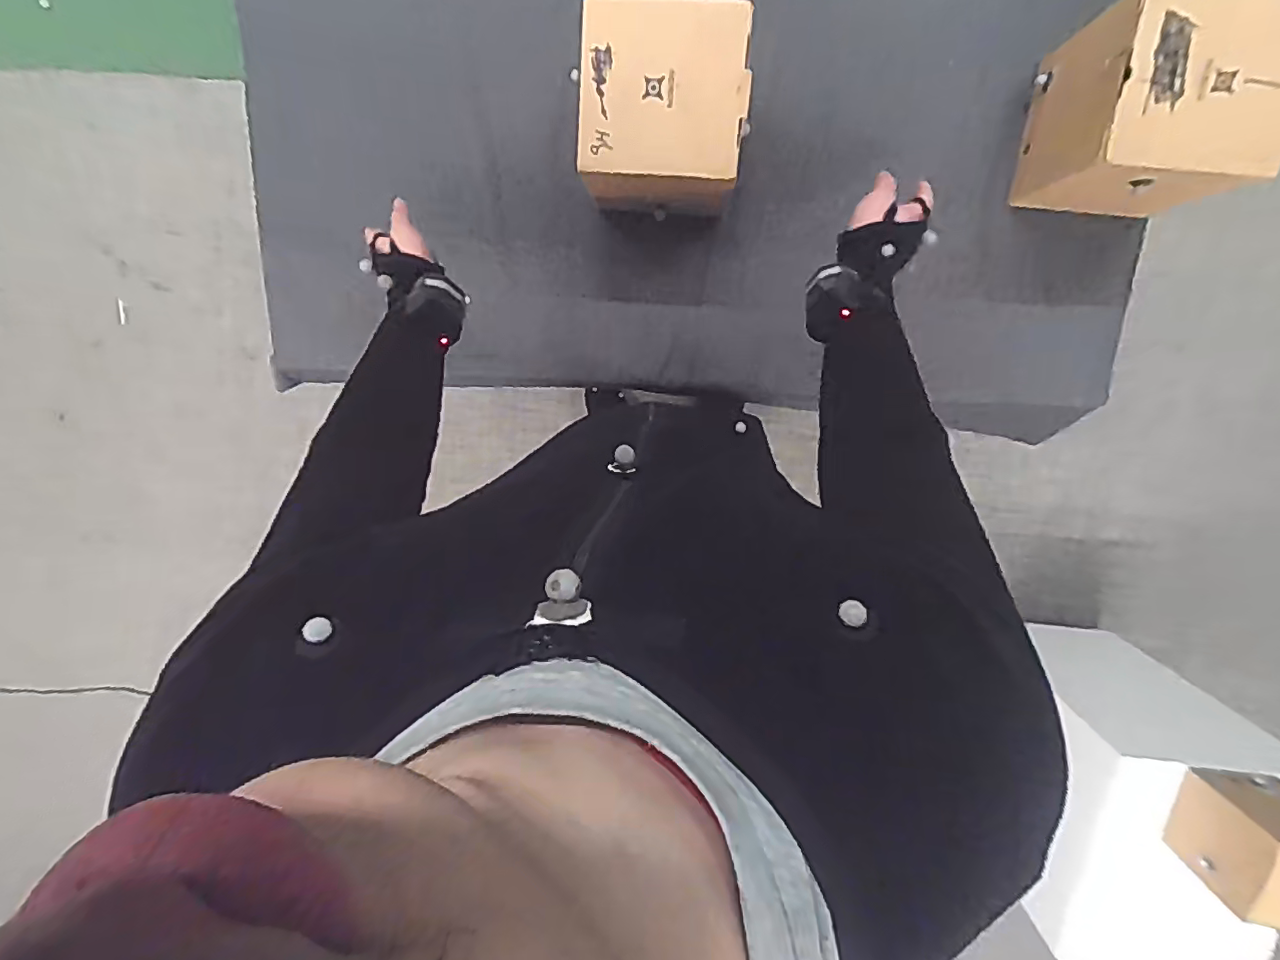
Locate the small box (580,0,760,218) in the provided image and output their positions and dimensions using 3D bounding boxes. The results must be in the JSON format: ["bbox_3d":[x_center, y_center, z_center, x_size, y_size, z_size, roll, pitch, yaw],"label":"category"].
[{"bbox_3d":[0.028,-0.417,0.631,0.179,0.176,0.168,4,102,-1],"label":"small box"}]

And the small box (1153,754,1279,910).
[{"bbox_3d":[1.097,0.633,0.980,0.168,0.176,0.179,2,103,-1],"label":"small box"}]

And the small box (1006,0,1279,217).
[{"bbox_3d":[0.567,-0.414,0.619,0.179,0.176,0.168,5,103,-1],"label":"small box"}]
